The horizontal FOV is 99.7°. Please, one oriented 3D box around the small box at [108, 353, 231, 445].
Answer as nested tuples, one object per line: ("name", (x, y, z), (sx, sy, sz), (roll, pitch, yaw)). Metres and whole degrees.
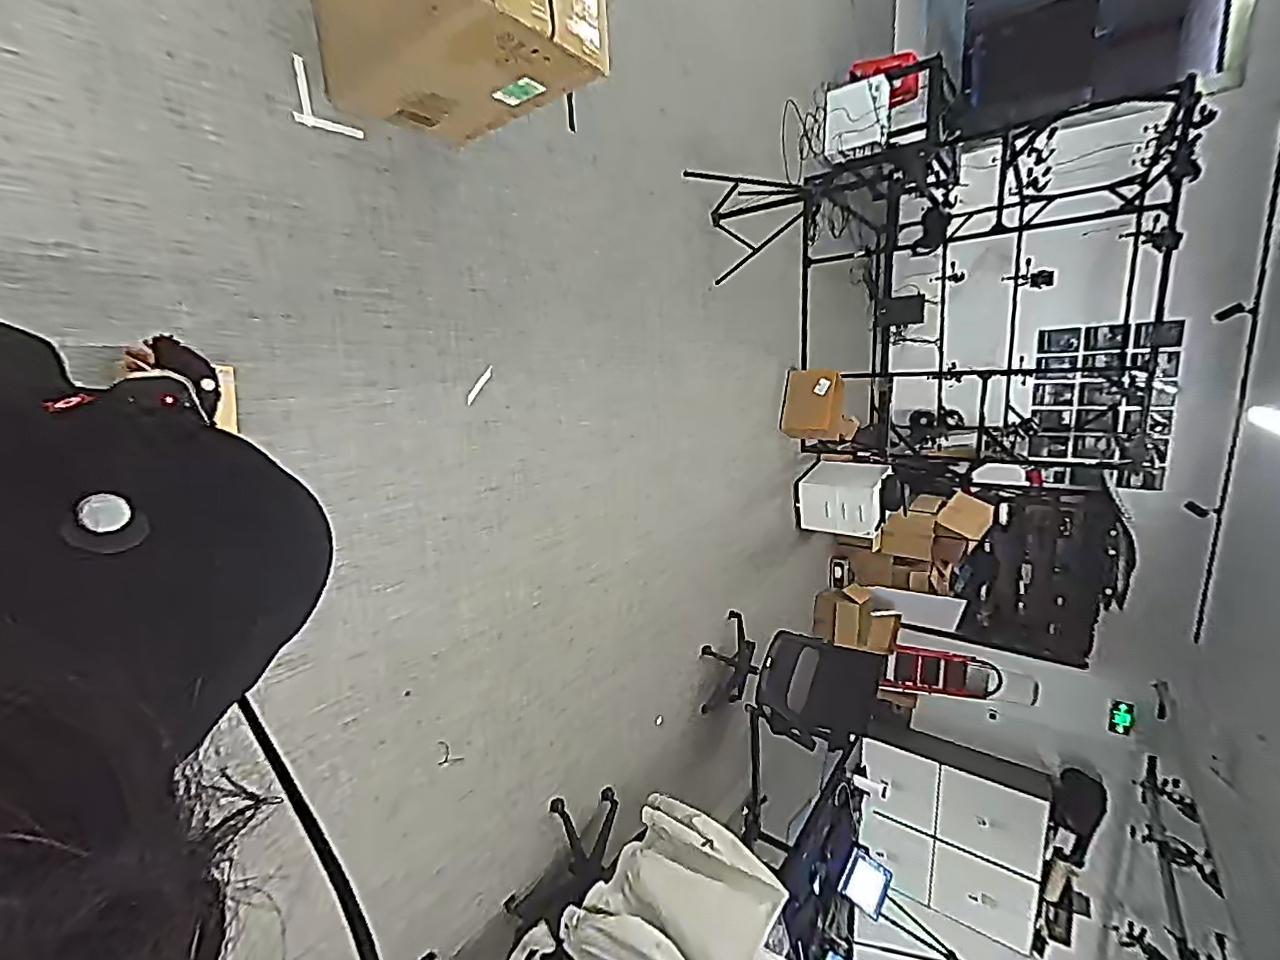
("small box", (-0.989, -0.168, 1.138), (0.168, 0.176, 0.179), (-6, 101, -53))
